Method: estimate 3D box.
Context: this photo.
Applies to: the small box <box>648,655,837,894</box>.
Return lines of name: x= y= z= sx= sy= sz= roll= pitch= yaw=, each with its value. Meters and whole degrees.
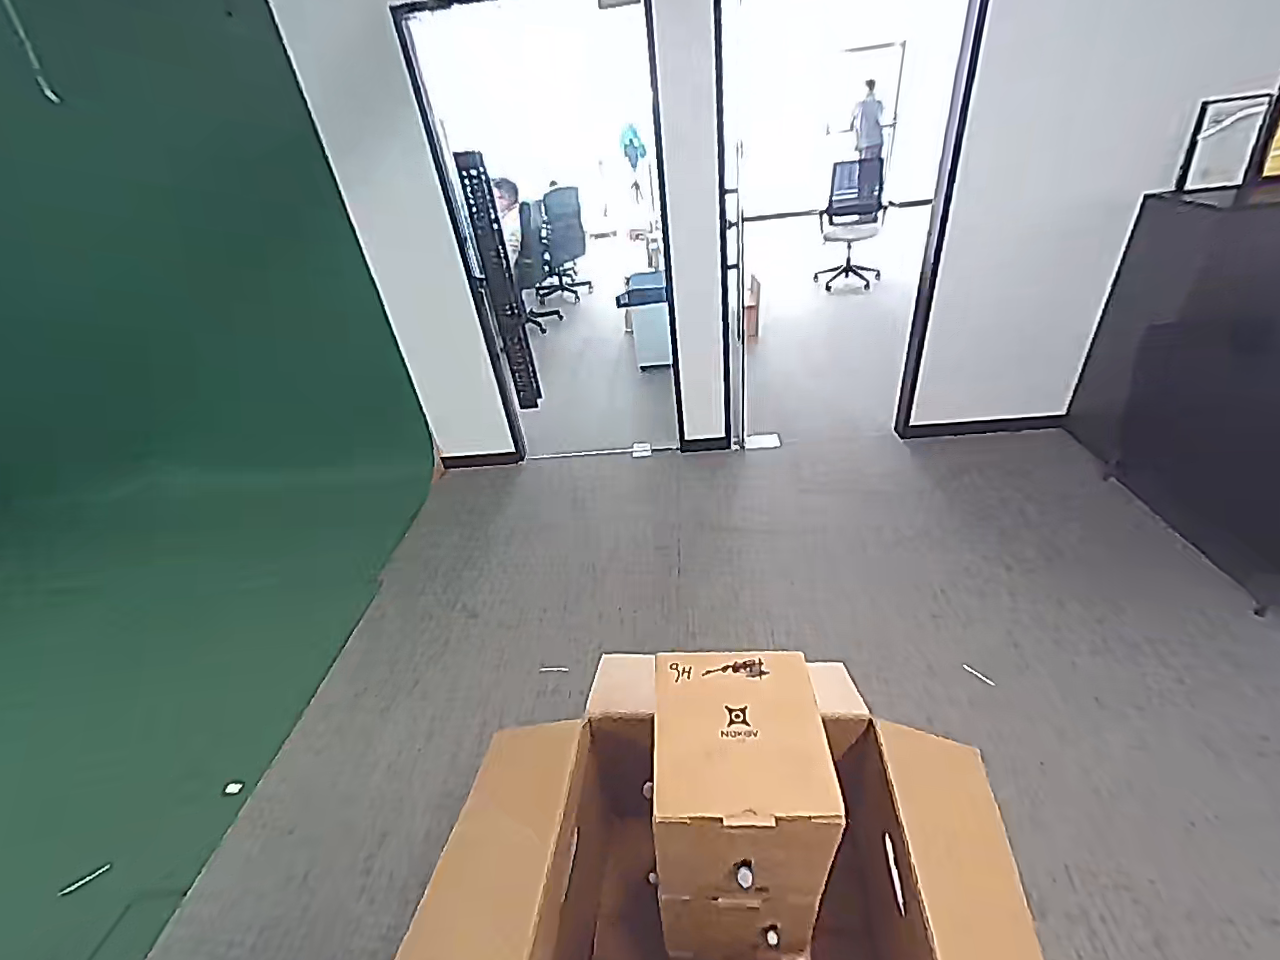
small box: x=0.097 y=0.311 z=0.578 sx=0.168 sy=0.176 sz=0.179 roll=-1 pitch=35 yaw=3
